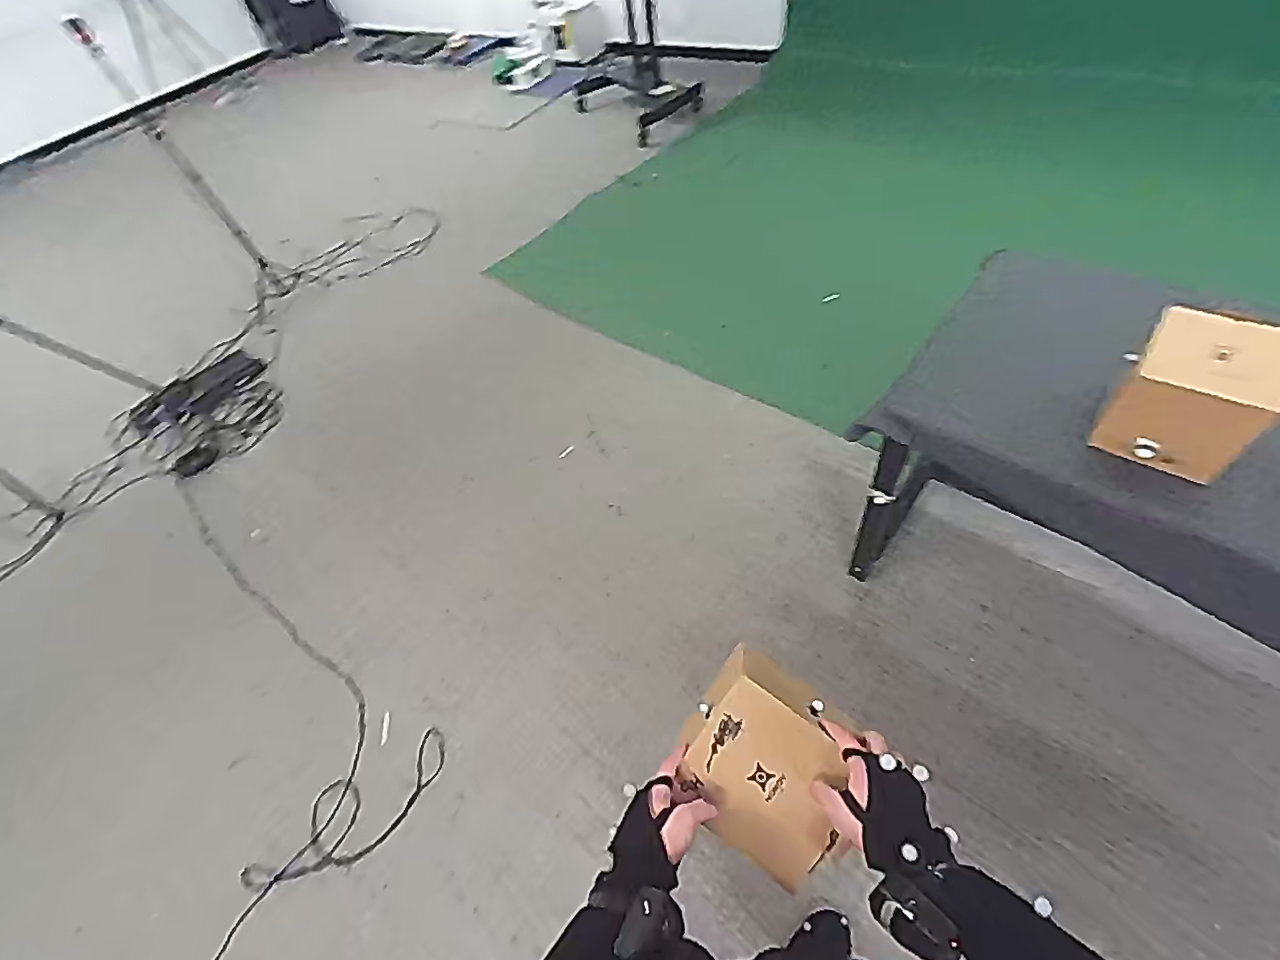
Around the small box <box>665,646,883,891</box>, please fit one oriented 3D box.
[{"bbox_3d":[0.157,0.330,0.663,0.179,0.176,0.168,35,93,12],"label":"small box"}]

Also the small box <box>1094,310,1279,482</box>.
[{"bbox_3d":[0.869,-0.132,0.856,0.168,0.176,0.179,28,64,29],"label":"small box"}]
